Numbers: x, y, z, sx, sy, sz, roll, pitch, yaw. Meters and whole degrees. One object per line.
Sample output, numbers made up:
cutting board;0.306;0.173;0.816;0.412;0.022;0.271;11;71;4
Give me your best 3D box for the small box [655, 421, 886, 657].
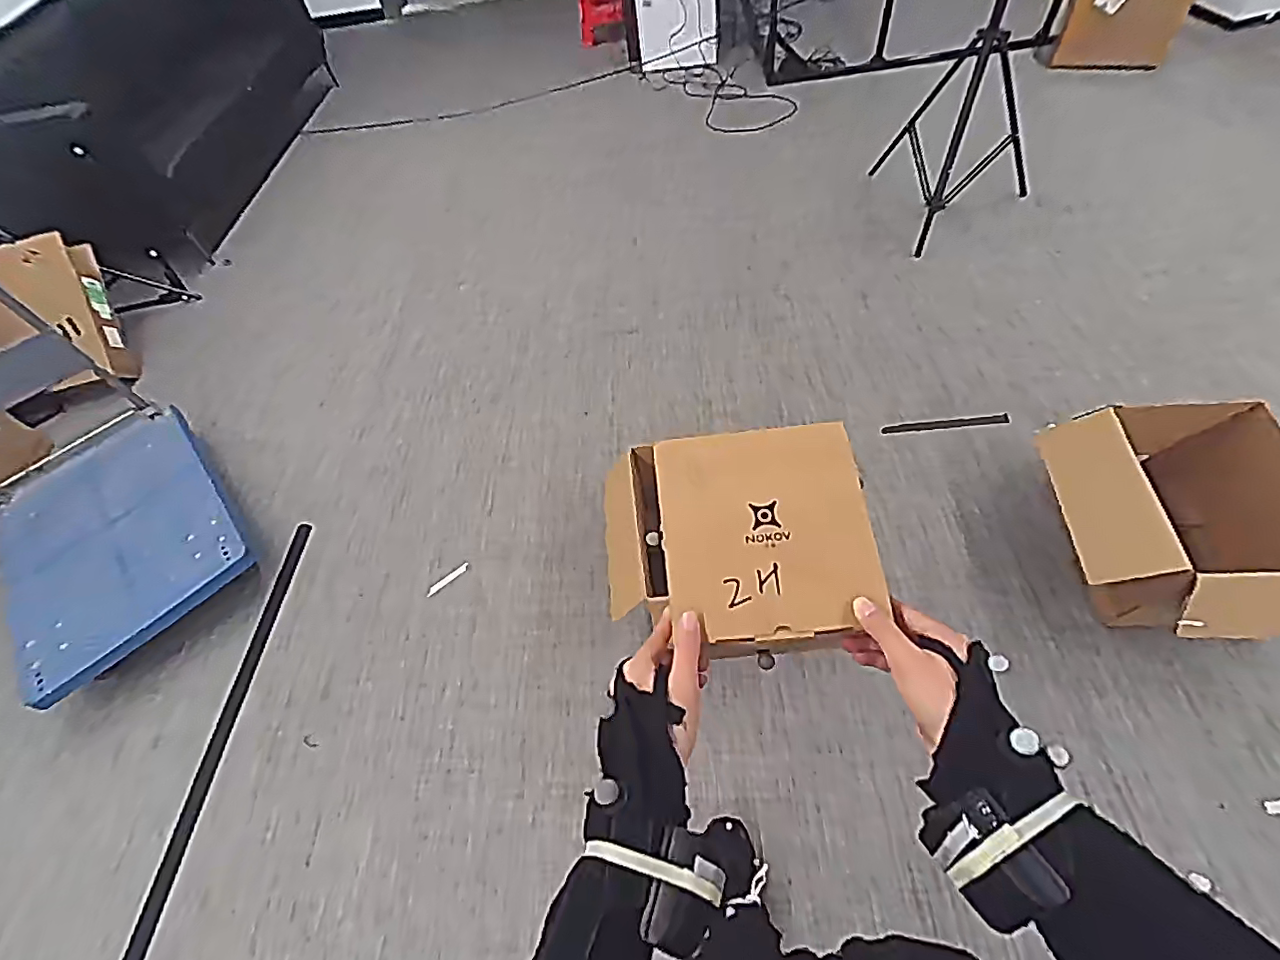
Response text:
small box;0.103;0.065;0.511;0.168;0.176;0.179;-6;68;3
